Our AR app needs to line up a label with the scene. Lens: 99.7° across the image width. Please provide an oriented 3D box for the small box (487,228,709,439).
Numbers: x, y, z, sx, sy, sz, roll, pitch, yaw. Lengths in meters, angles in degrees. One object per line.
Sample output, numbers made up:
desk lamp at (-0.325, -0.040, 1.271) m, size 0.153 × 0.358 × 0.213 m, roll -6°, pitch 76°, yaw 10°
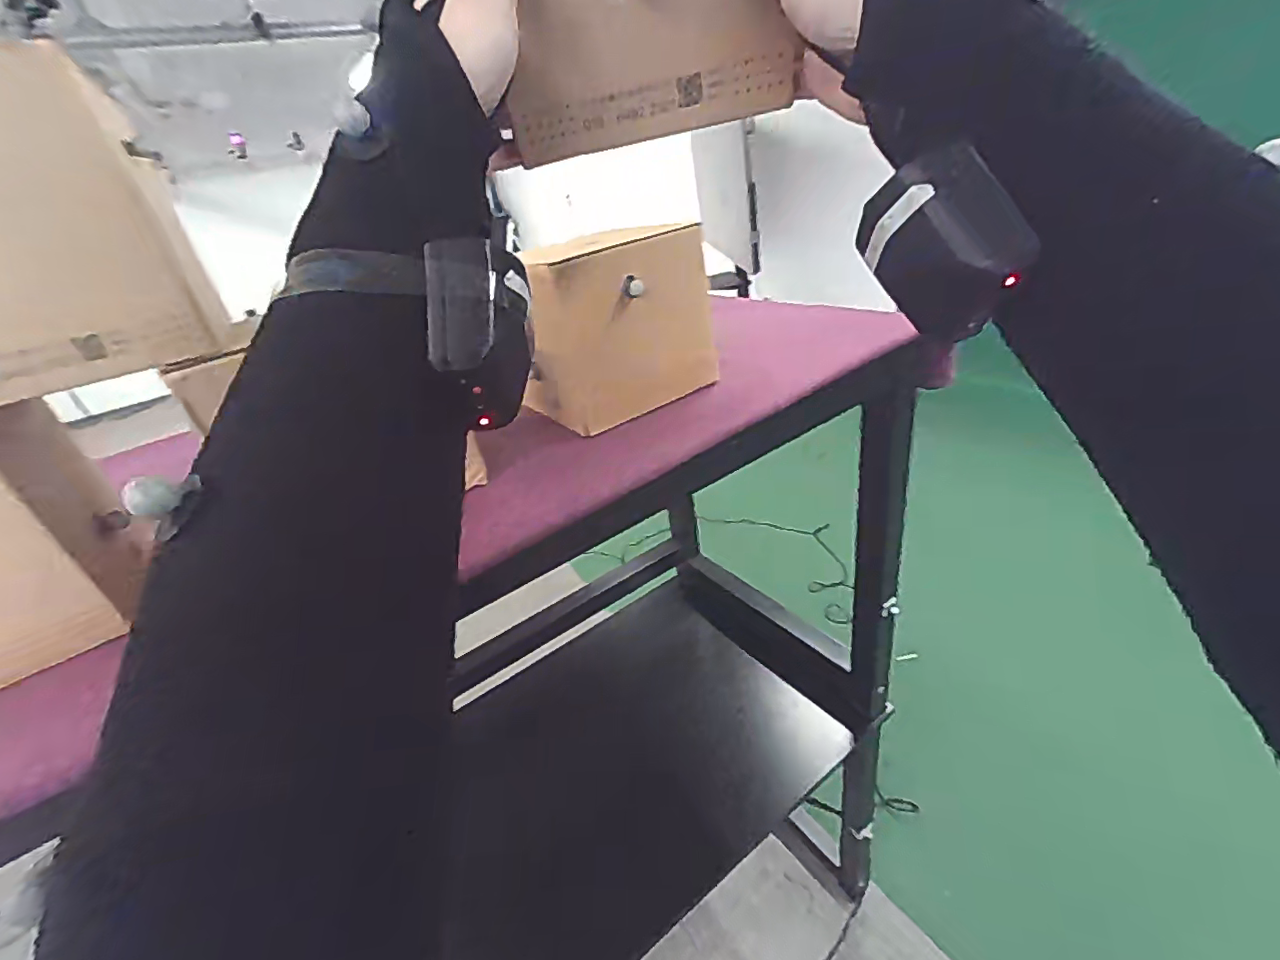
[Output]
small box at (-0.039, -0.168, 0.596) m, size 0.179 × 0.176 × 0.168 m, roll -28°, pitch 33°, yaw -24°

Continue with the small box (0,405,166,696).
small box at (-0.485, 0.054, 0.371) m, size 0.179 × 0.176 × 0.168 m, roll -28°, pitch 35°, yaw -26°

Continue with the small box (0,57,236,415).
small box at (-0.400, -0.145, 0.354) m, size 0.168 × 0.176 × 0.179 m, roll -25°, pitch 32°, yaw -24°

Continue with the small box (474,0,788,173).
small box at (-0.011, -0.309, 0.335) m, size 0.168 × 0.176 × 0.179 m, roll -12°, pitch 40°, yaw 3°

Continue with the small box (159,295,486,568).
small box at (-0.263, -0.052, 0.476) m, size 0.179 × 0.176 × 0.168 m, roll -26°, pitch 33°, yaw -25°
